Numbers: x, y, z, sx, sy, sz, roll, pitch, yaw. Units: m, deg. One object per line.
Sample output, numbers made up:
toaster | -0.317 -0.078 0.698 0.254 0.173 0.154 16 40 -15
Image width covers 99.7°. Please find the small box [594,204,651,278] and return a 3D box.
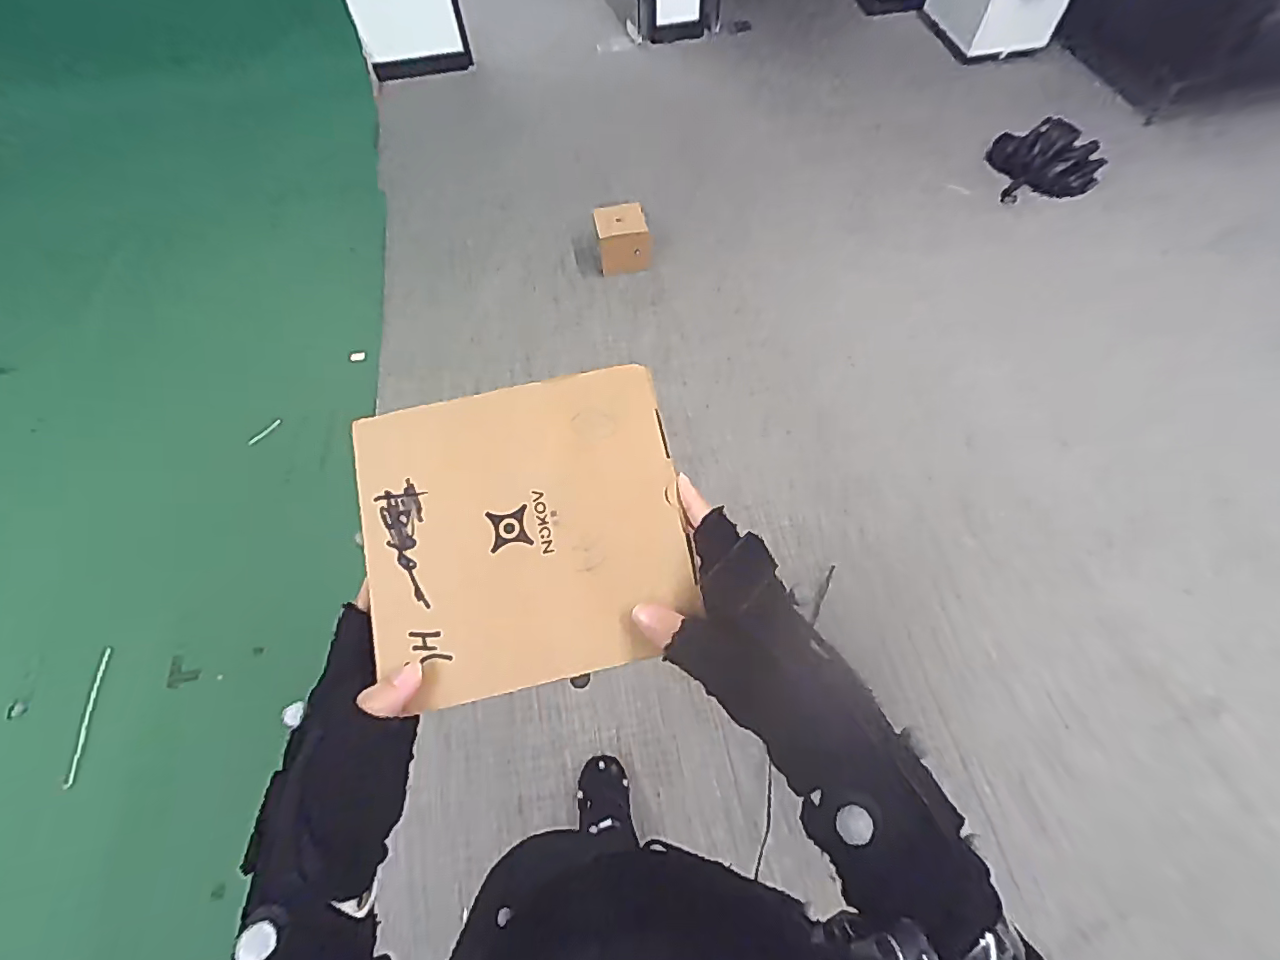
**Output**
small box | -0.061 -0.866 1.970 0.179 0.176 0.168 -12 61 -3

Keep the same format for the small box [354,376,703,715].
small box | -0.069 0.048 0.380 0.179 0.176 0.168 -11 76 -4
